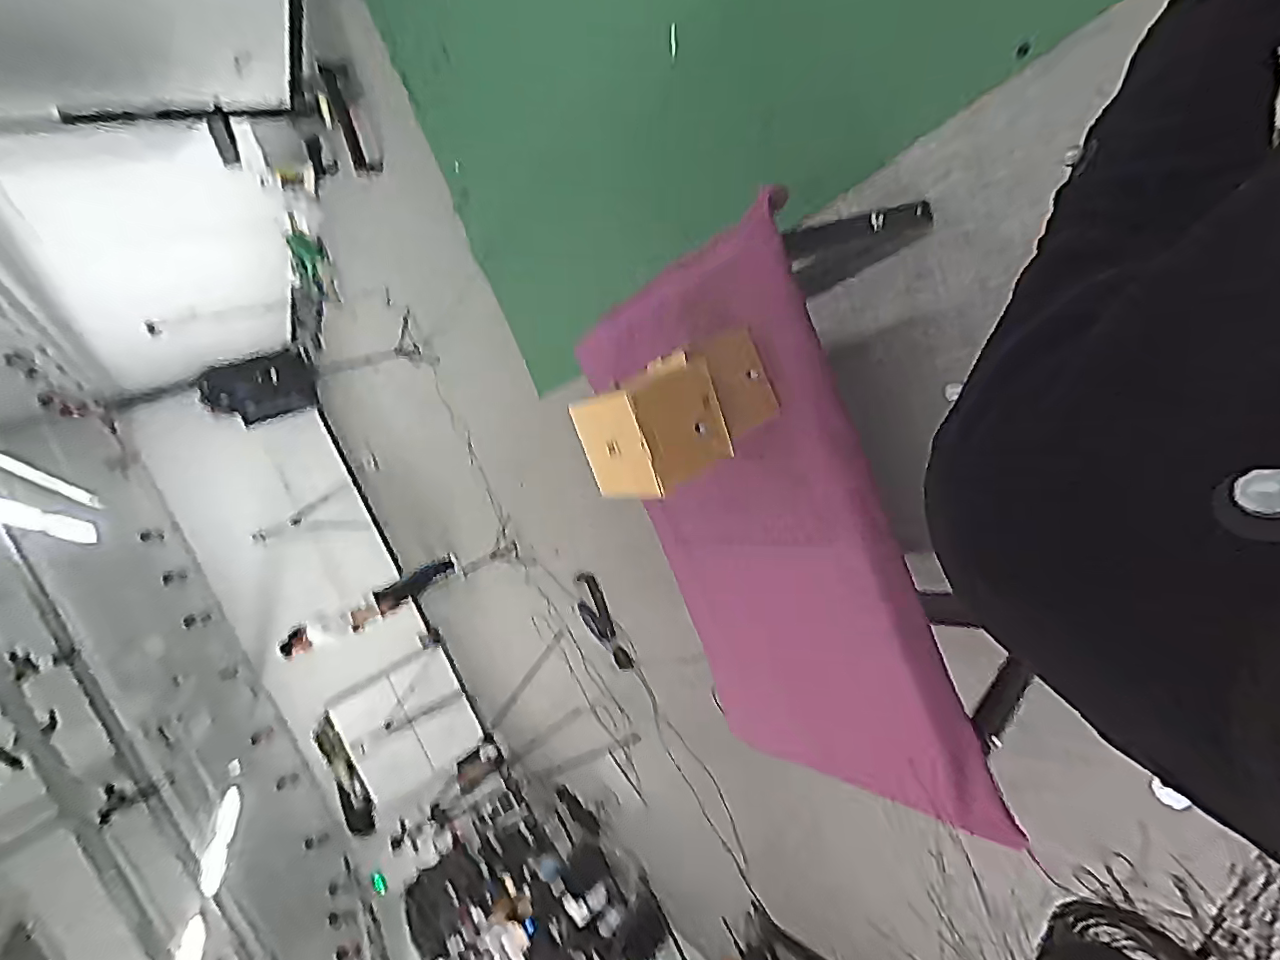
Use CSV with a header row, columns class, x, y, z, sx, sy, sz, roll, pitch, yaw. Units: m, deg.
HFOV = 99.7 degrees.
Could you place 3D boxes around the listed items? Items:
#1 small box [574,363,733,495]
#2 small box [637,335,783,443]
class,x,y,z,sx,sy,sz,roll,pitch,yaw
small box,0.024,-0.083,0.900,0.179,0.176,0.168,-3,110,54
small box,0.130,-0.155,1.004,0.168,0.176,0.179,-16,99,58
